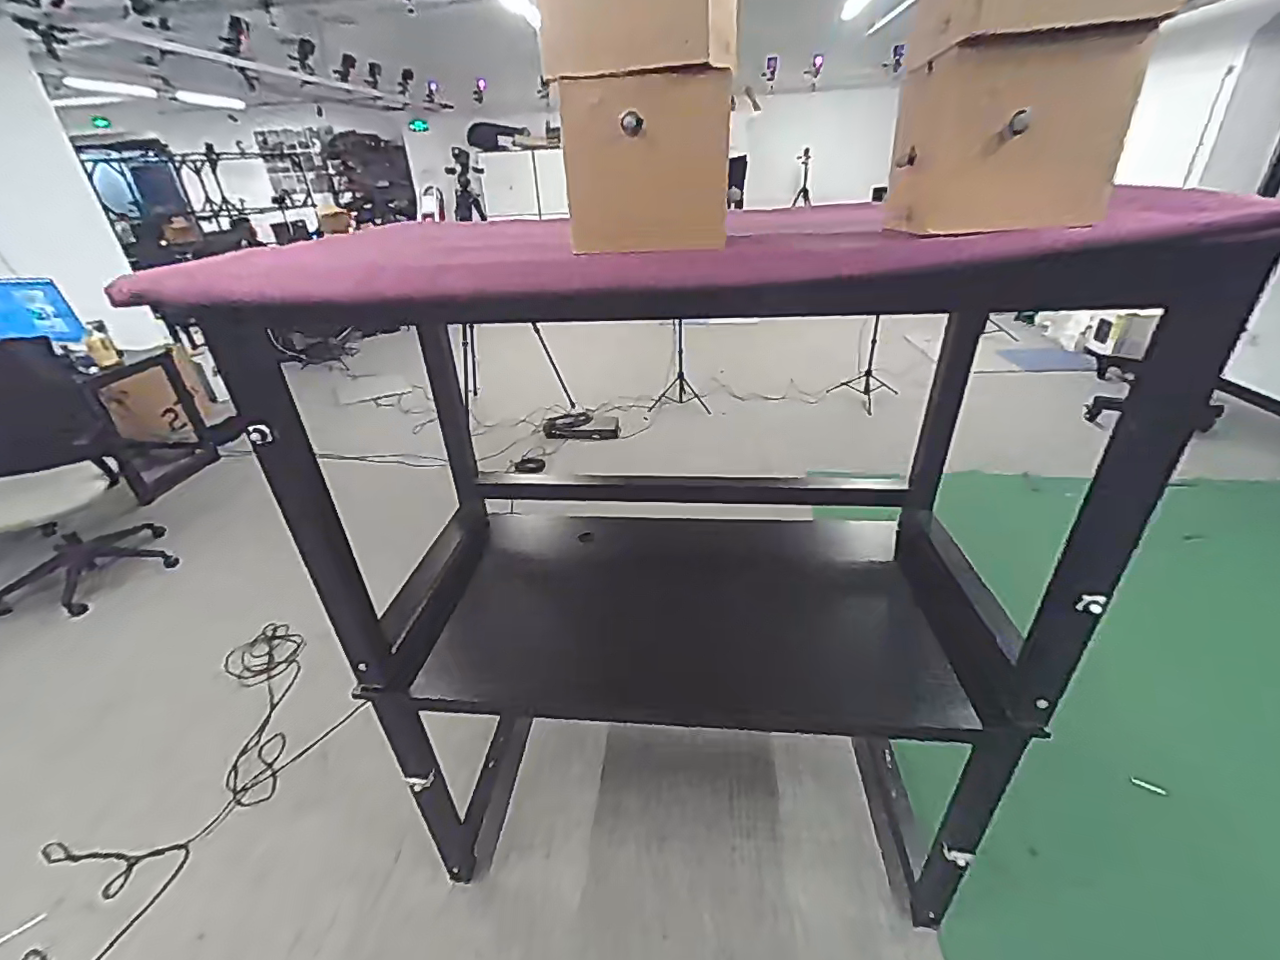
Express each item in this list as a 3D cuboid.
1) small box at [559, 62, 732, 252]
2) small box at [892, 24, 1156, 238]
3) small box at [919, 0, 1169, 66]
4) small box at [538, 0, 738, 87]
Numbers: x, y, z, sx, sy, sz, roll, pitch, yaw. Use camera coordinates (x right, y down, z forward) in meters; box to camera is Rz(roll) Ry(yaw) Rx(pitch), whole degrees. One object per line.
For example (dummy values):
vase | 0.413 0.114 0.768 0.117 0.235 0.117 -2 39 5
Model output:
small box | 0.017 -0.367 0.635 0.179 0.176 0.168 2 31 7
small box | 0.395 -0.369 0.600 0.179 0.176 0.168 0 28 8
small box | 0.384 -0.507 0.513 0.179 0.176 0.168 0 28 7
small box | 0.005 -0.508 0.554 0.179 0.176 0.168 6 31 16
